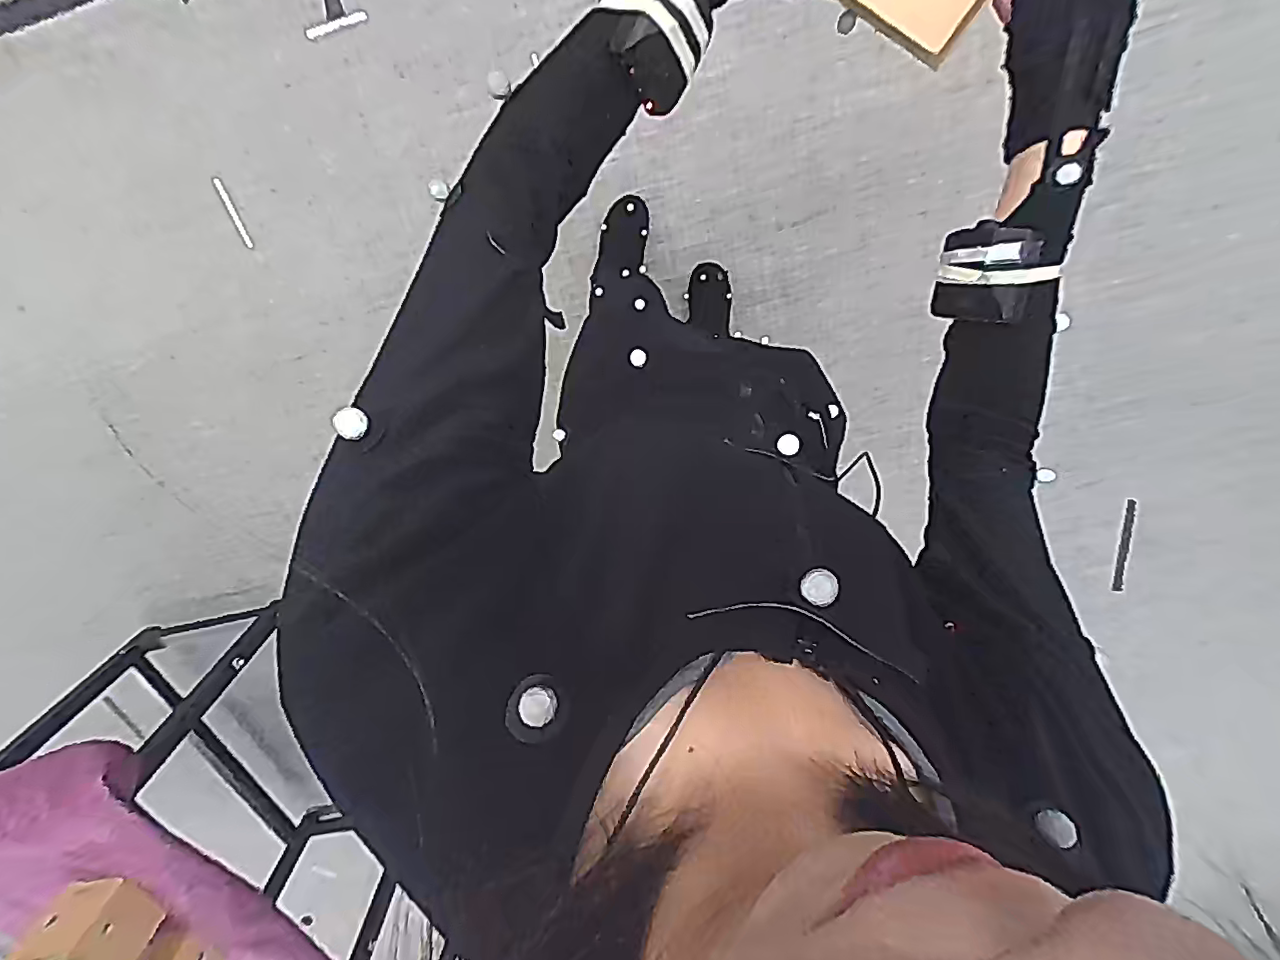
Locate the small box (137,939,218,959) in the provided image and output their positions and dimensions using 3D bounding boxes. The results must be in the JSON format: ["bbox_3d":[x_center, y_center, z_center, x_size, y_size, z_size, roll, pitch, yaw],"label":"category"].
[{"bbox_3d":[-1.245,1.324,1.399,0.168,0.176,0.179,-12,116,7],"label":"small box"}]

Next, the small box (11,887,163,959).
[{"bbox_3d":[-1.309,1.095,1.281,0.168,0.176,0.179,-9,119,7],"label":"small box"}]

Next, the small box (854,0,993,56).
[{"bbox_3d":[0.214,-0.438,0.374,0.168,0.176,0.179,38,132,4],"label":"small box"}]
